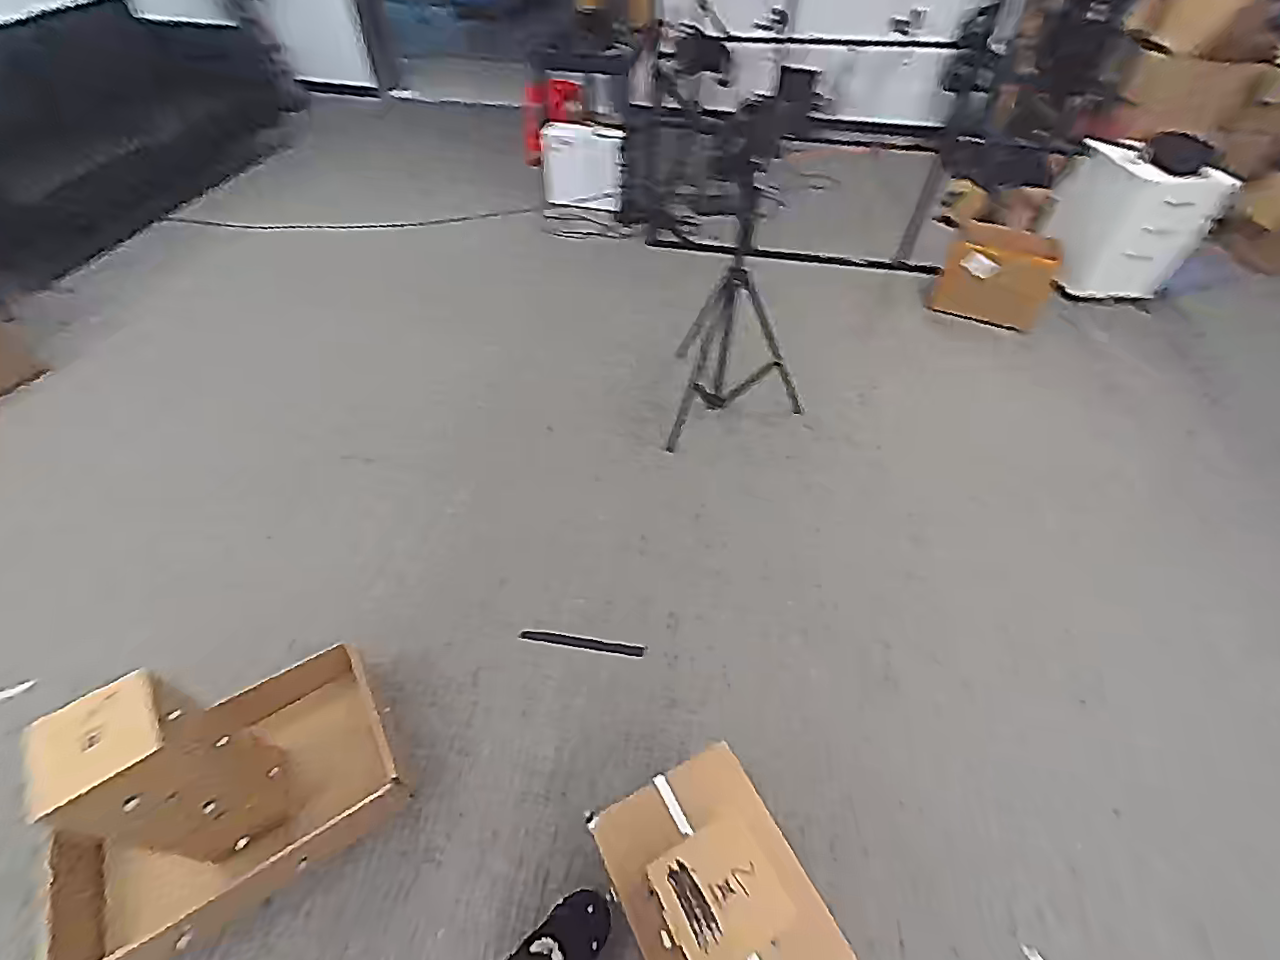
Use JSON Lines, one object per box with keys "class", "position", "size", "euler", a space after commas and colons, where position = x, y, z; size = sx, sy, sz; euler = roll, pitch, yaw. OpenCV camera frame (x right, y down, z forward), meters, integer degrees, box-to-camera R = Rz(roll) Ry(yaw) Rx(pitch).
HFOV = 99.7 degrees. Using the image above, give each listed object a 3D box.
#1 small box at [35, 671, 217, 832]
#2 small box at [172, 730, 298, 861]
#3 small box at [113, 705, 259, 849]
{"class": "small box", "position": [-0.883, 0.477, 0.942], "size": [0.168, 0.176, 0.179], "euler": [-29, 56, -26]}
{"class": "small box", "position": [-0.888, 0.695, 1.186], "size": [0.168, 0.176, 0.179], "euler": [-26, 55, -22]}
{"class": "small box", "position": [-0.891, 0.588, 1.064], "size": [0.168, 0.176, 0.179], "euler": [-29, 54, -26]}
